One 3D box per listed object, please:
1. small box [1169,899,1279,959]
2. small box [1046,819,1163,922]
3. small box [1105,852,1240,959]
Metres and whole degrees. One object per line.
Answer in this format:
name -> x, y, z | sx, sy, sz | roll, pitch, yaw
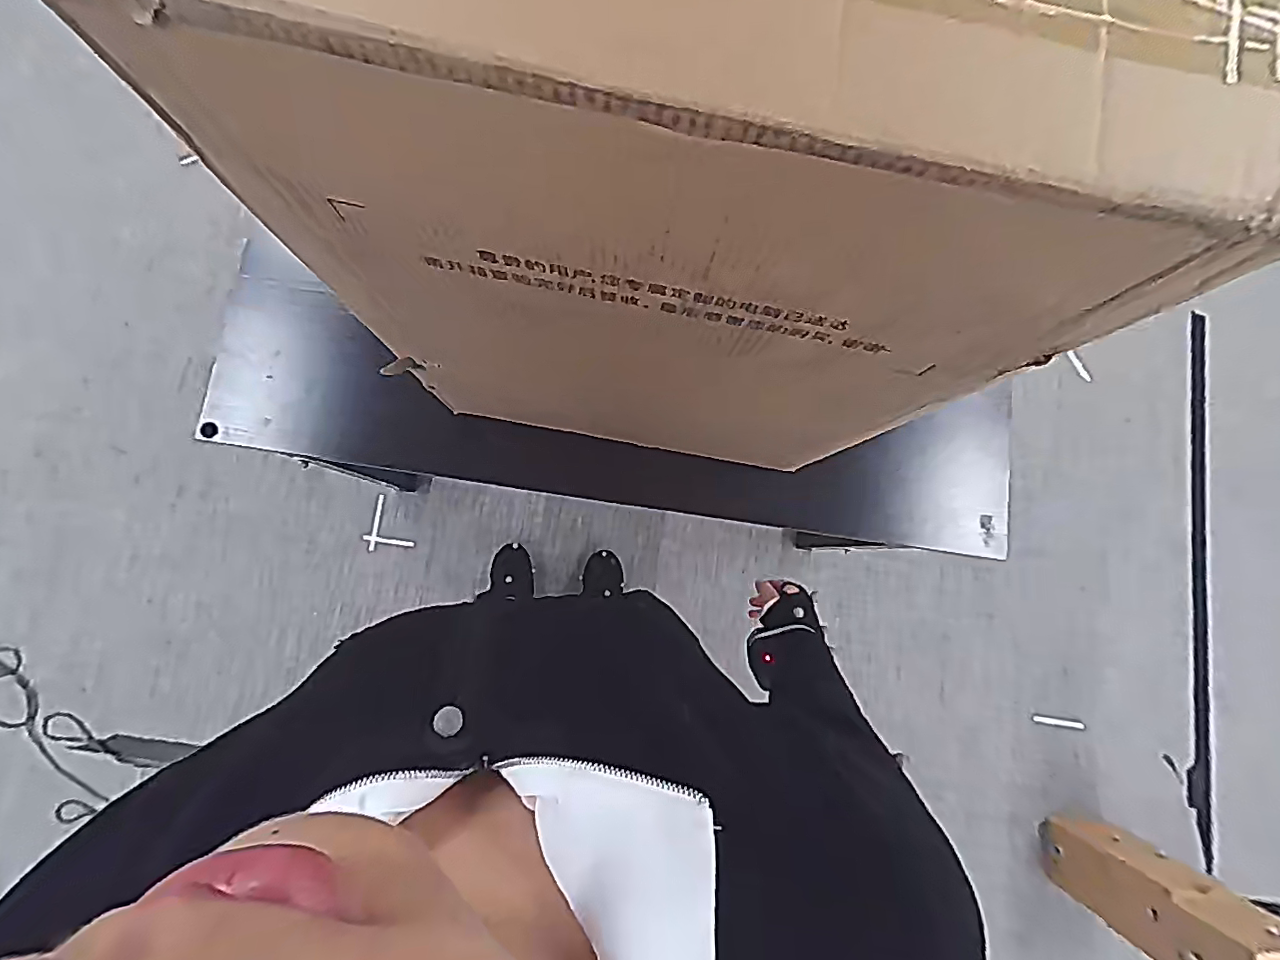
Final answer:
small box -> 1.239, 0.985, 1.092 | 0.179, 0.176, 0.168 | 1, 82, -4
small box -> 1.217, 1.017, 1.420 | 0.179, 0.176, 0.168 | 2, 81, -3
small box -> 1.231, 1.000, 1.256 | 0.168, 0.176, 0.179 | 4, 82, -4
